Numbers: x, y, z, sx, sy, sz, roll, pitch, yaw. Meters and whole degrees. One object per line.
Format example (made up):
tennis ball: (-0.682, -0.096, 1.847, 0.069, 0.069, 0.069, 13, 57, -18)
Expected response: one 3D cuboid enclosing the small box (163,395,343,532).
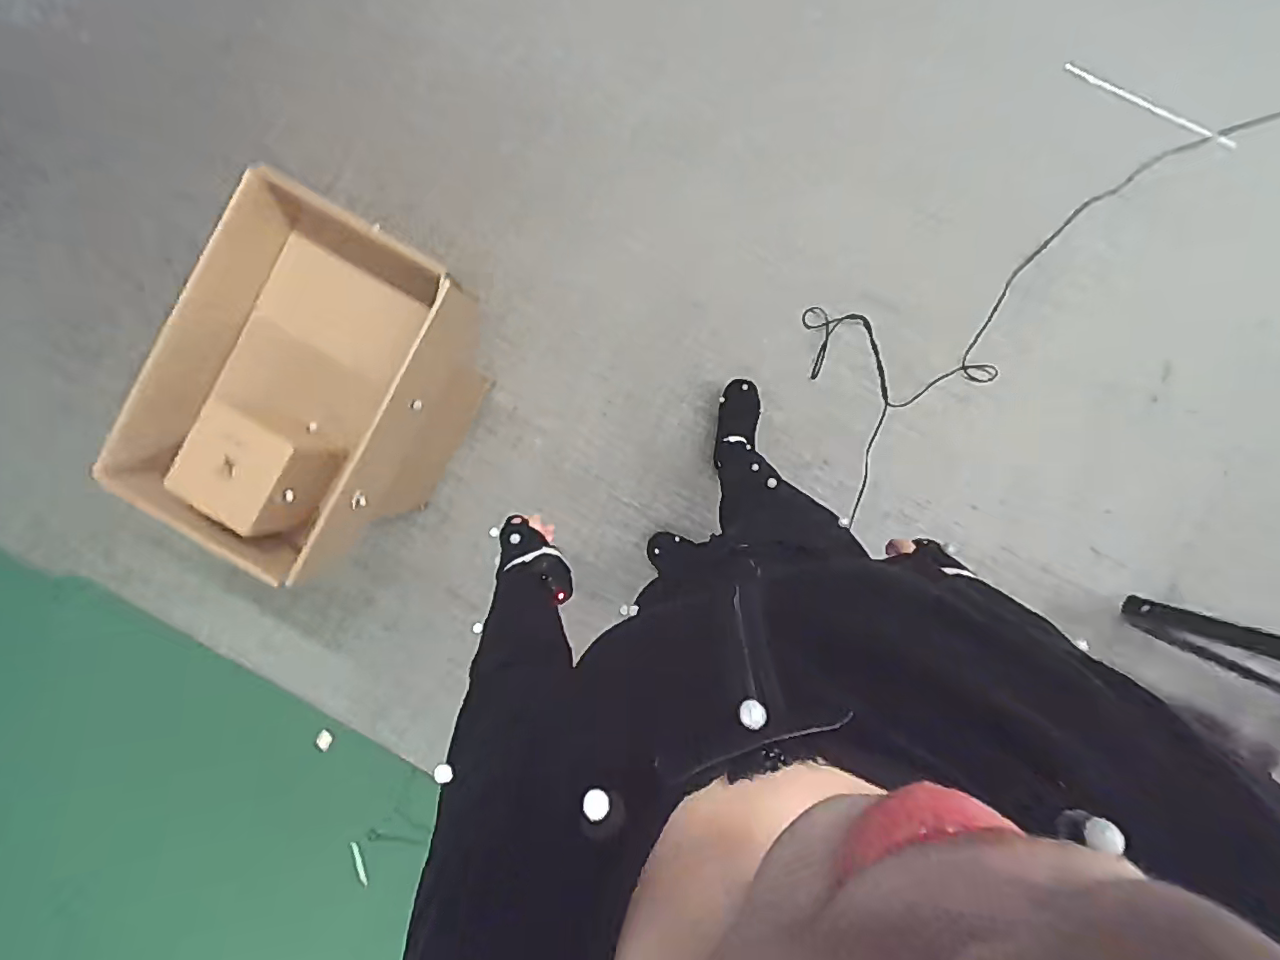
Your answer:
small box: (-0.679, -0.030, 0.971, 0.168, 0.176, 0.179, 31, 94, 1)
